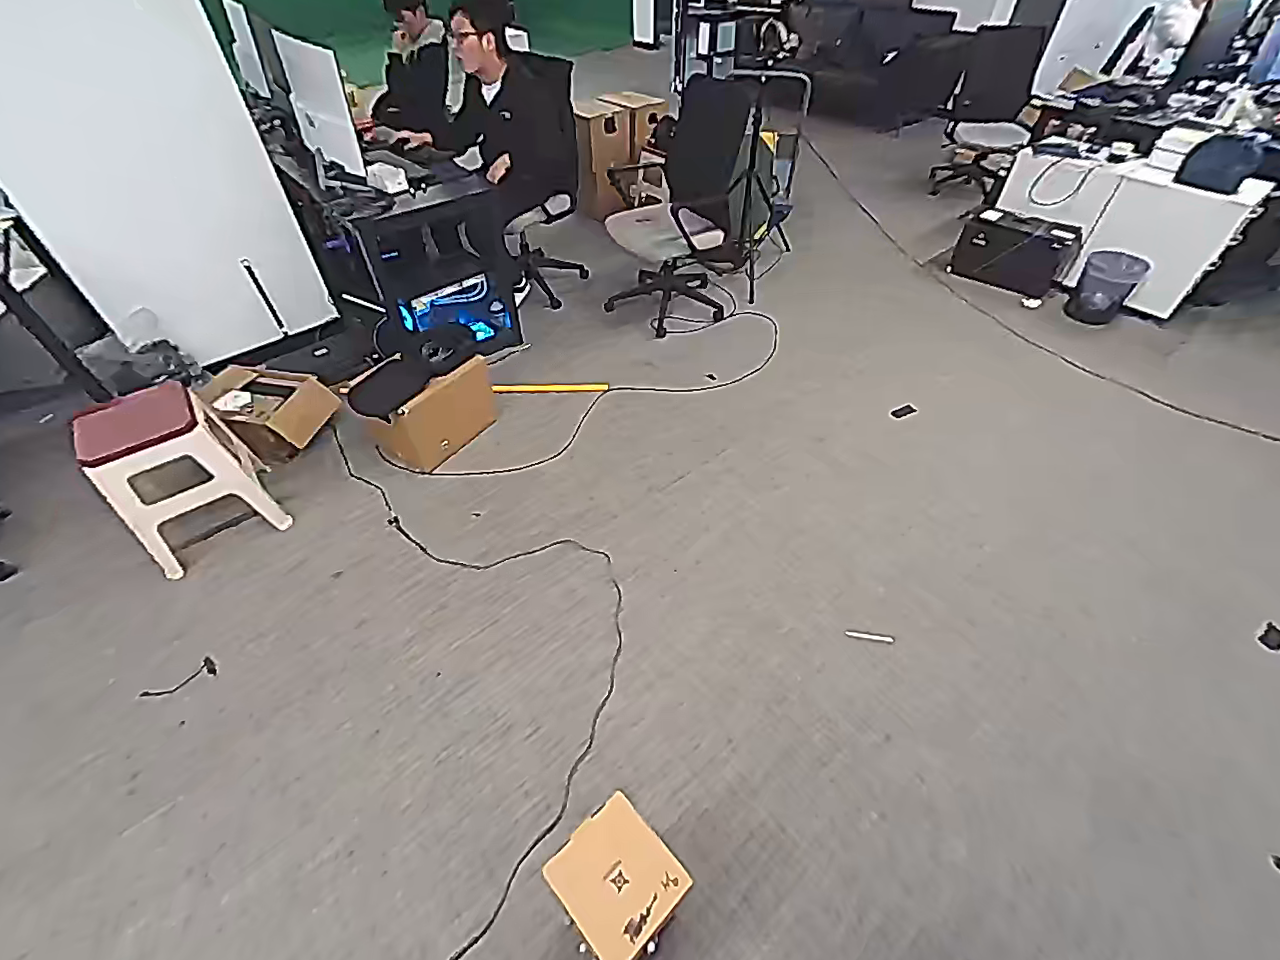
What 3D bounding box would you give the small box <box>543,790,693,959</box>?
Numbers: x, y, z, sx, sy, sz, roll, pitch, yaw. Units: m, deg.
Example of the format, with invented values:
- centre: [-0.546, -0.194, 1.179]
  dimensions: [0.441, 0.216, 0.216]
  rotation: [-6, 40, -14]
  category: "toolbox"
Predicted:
- centre: [-0.036, 0.659, 0.886]
  dimensions: [0.168, 0.176, 0.179]
  rotation: [-34, 56, -28]
  category: "small box"
